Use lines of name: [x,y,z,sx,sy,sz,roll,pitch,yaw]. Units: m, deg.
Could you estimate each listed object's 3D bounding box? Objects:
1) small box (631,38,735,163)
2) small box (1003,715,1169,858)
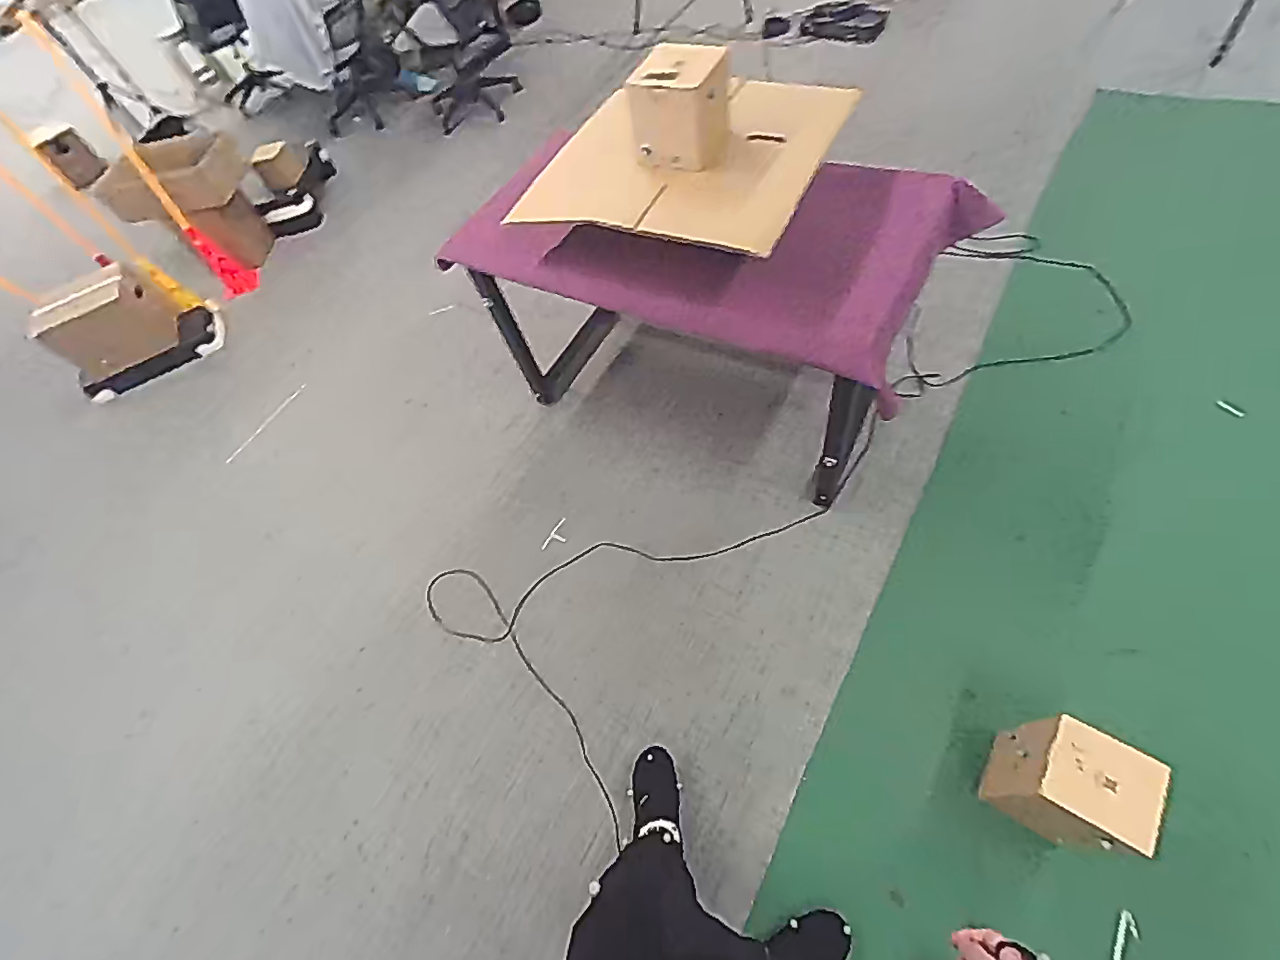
small box: [0.102,-0.830,1.188,0.168,0.176,0.179,21,65,20]
small box: [0.853,0.588,1.050,0.179,0.176,0.168,27,67,24]
